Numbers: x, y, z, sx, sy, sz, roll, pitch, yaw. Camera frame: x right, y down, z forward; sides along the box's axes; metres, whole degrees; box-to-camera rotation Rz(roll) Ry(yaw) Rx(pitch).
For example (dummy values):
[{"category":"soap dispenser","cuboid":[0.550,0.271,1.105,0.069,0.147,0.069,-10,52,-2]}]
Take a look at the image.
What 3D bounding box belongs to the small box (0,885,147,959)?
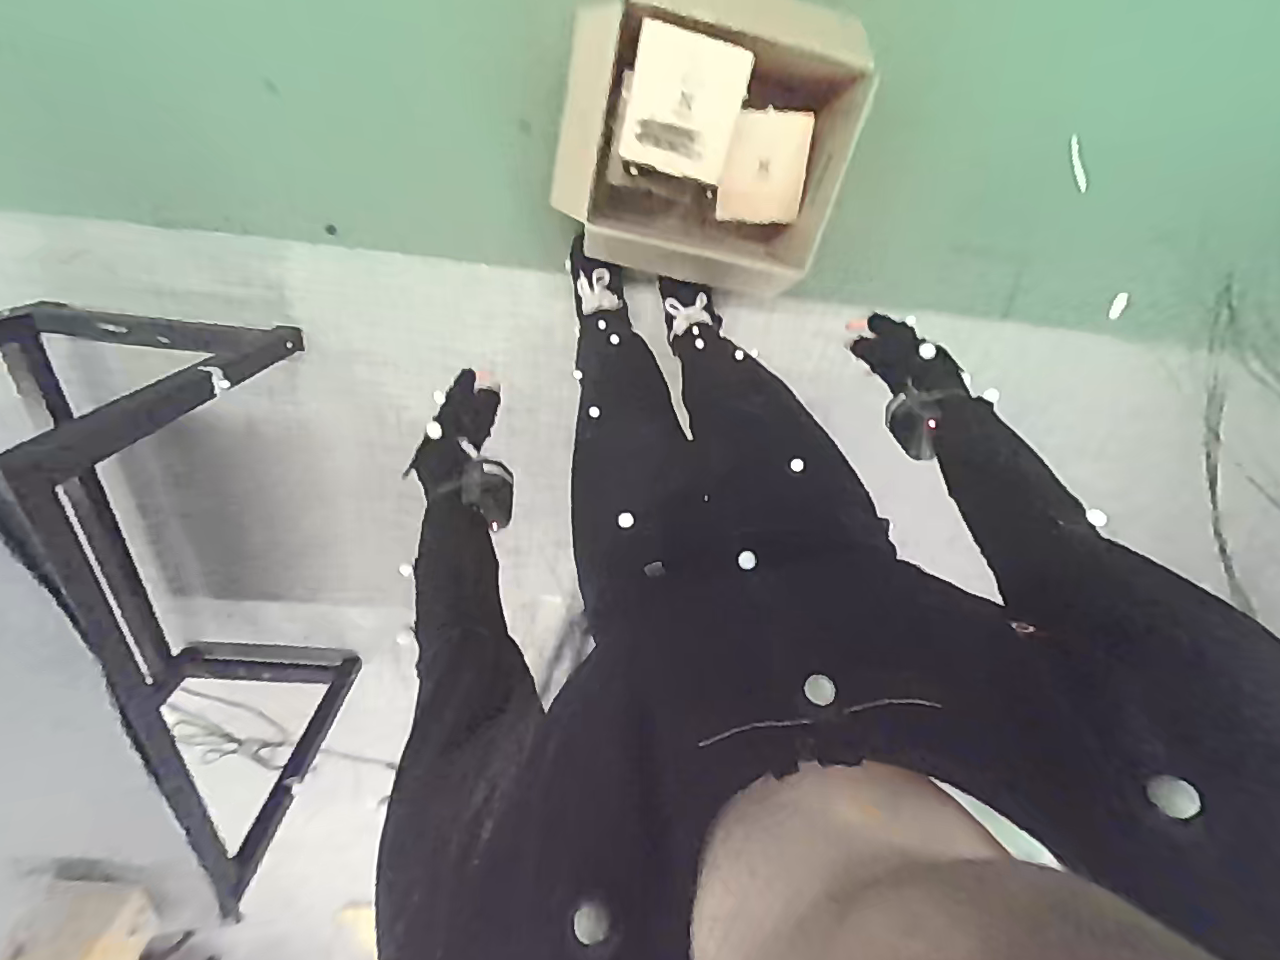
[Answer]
[{"category":"small box","cuboid":[-1.149,0.942,1.073,0.179,0.176,0.168,8,118,-5]}]
